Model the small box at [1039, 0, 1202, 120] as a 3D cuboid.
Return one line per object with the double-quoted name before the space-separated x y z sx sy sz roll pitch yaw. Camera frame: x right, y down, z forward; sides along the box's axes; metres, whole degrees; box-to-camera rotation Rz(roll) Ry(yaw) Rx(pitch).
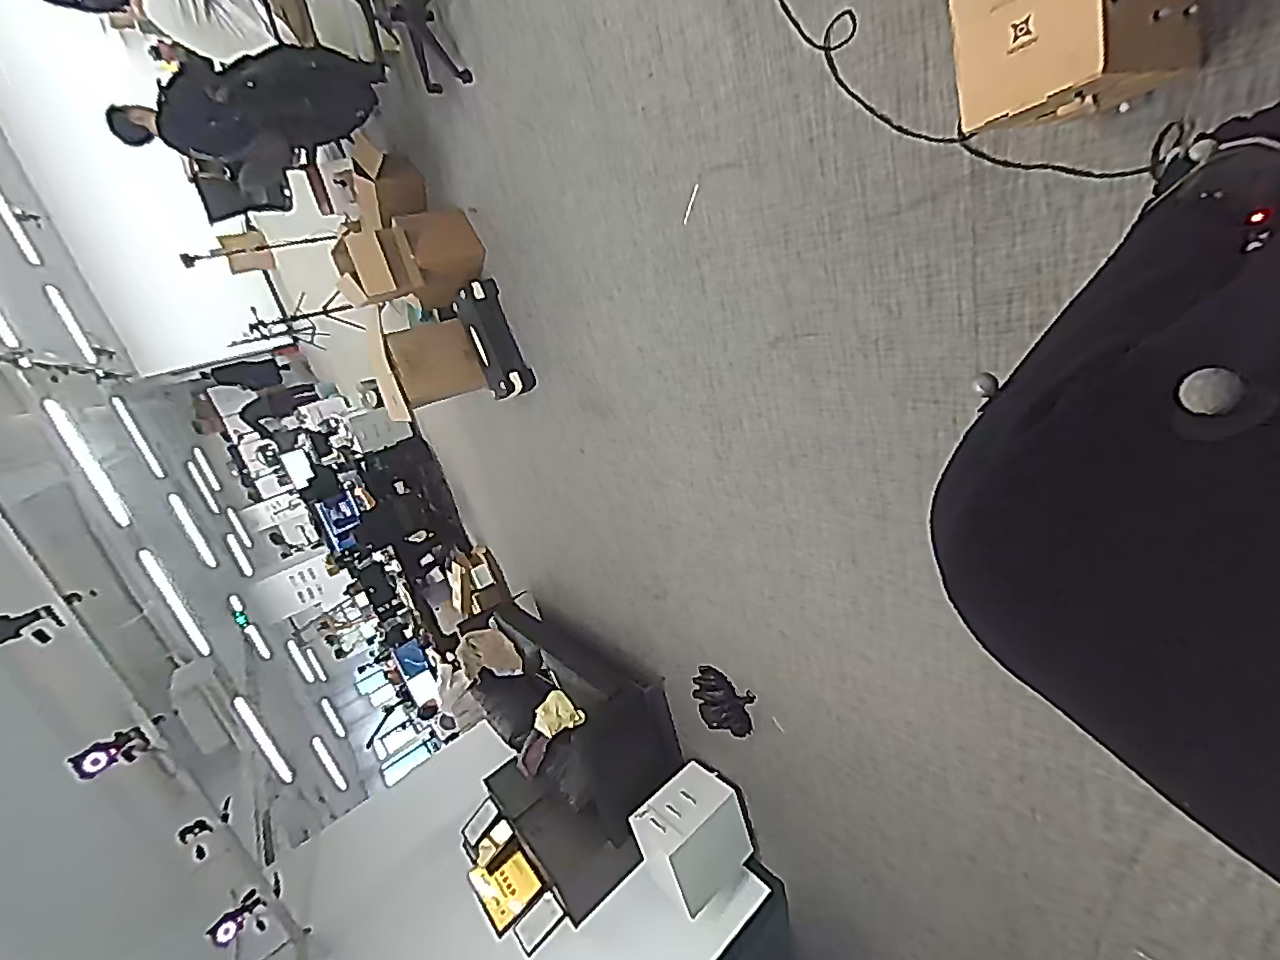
"small box" 0.806 -0.739 0.907 0.168 0.176 0.179 2 115 56
